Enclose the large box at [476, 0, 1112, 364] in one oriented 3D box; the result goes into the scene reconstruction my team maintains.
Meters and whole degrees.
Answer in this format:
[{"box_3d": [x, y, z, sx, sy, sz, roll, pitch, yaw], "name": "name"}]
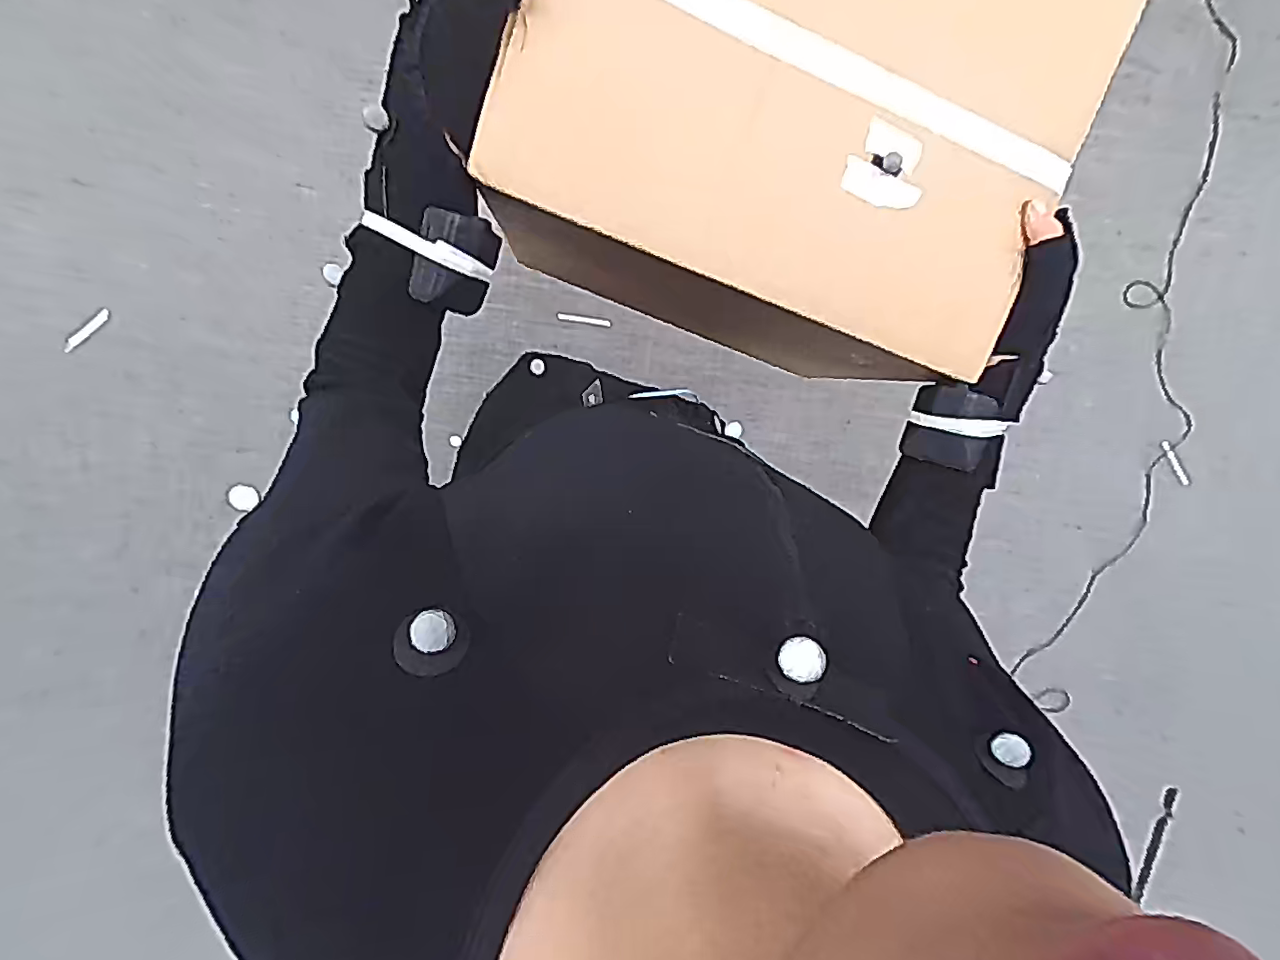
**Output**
[{"box_3d": [0.099, -0.322, 0.522, 0.408, 0.320, 0.320, 18, 100, -11], "name": "large box"}]
